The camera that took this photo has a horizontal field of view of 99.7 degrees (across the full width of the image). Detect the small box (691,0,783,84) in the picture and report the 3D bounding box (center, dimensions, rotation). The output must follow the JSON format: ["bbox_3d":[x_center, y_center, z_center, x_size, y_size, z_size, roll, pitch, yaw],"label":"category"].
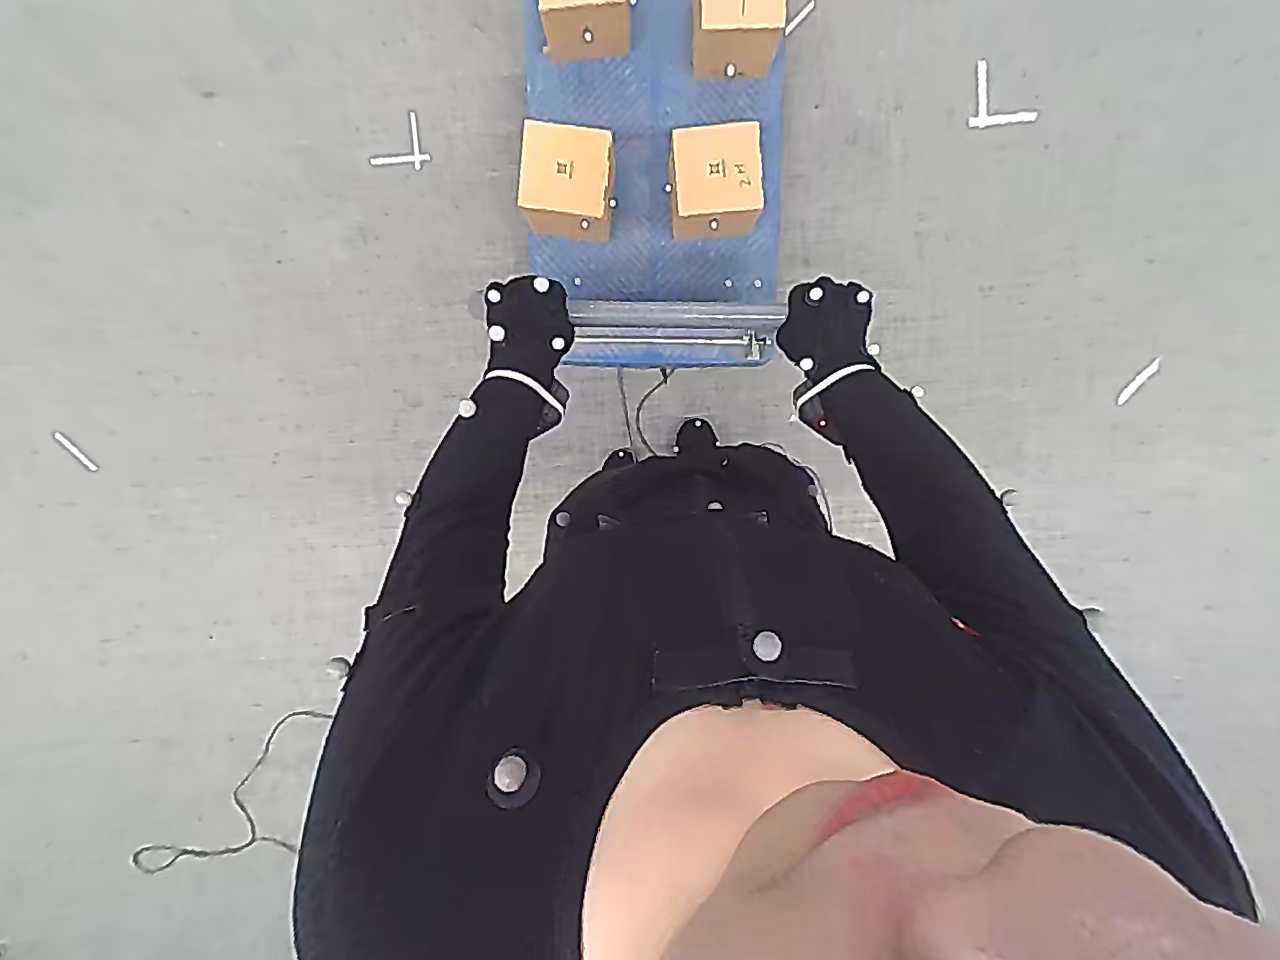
[{"bbox_3d":[0.196,-0.968,1.123,0.168,0.176,0.179,-1,98,0],"label":"small box"}]

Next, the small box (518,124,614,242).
[{"bbox_3d":[-0.153,-0.628,1.164,0.179,0.176,0.168,6,96,-2],"label":"small box"}]

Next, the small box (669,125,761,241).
[{"bbox_3d":[0.153,-0.628,1.164,0.179,0.176,0.168,-5,97,1],"label":"small box"}]
